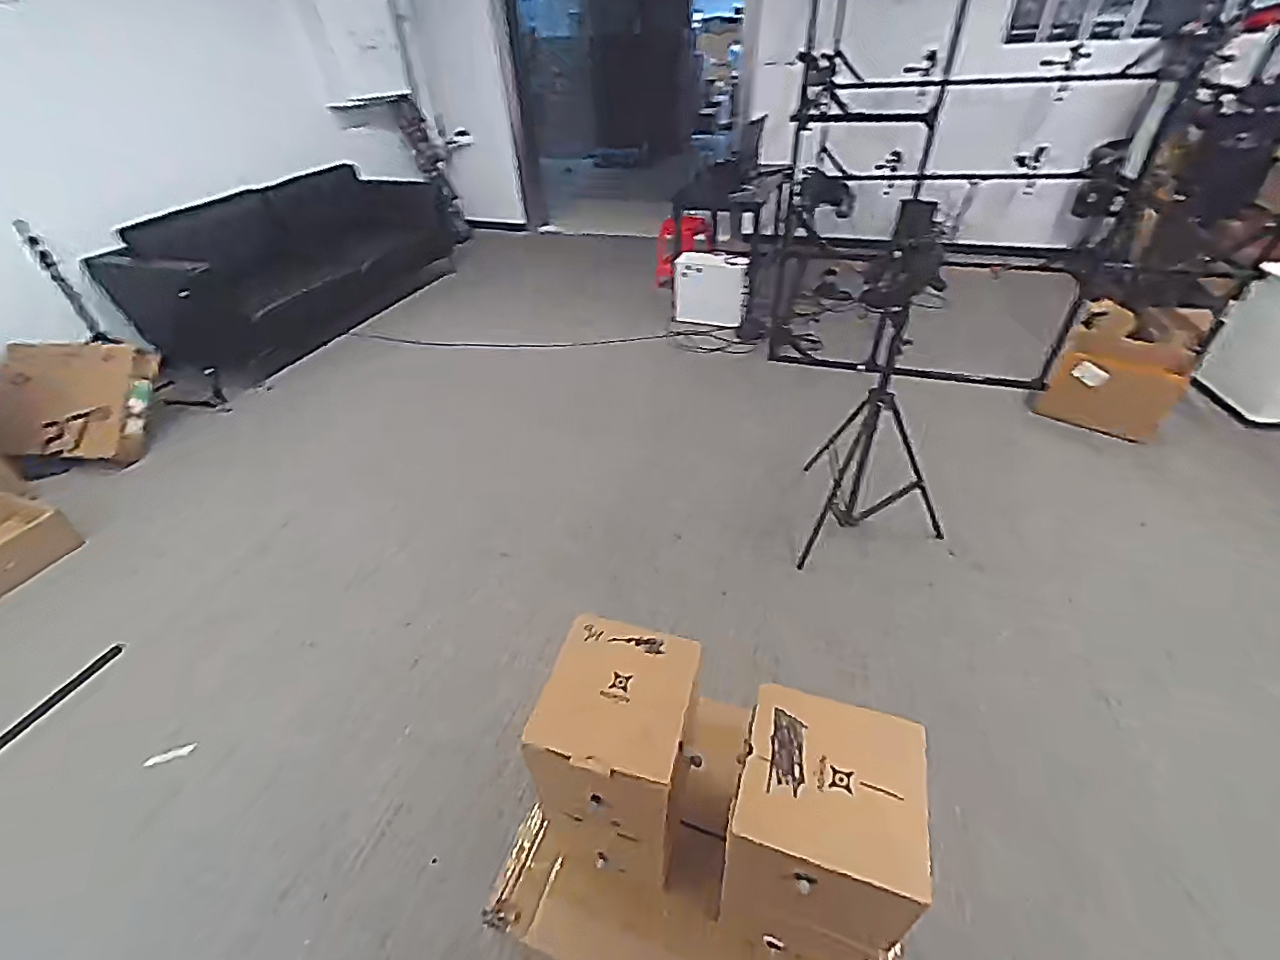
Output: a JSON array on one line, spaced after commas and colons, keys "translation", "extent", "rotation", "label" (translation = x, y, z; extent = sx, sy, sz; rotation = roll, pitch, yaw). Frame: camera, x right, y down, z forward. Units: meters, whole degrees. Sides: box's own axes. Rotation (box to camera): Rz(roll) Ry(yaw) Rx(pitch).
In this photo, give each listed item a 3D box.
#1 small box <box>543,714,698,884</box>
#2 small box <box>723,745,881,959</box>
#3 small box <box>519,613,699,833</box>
[{"translation": [-0.021, 0.430, 0.773], "extent": [0.168, 0.176, 0.179], "rotation": [11, 41, 15], "label": "small box"}, {"translation": [0.203, 0.485, 0.694], "extent": [0.168, 0.176, 0.179], "rotation": [9, 42, 18], "label": "small box"}, {"translation": [-0.025, 0.300, 0.671], "extent": [0.168, 0.176, 0.179], "rotation": [10, 41, 14], "label": "small box"}]
